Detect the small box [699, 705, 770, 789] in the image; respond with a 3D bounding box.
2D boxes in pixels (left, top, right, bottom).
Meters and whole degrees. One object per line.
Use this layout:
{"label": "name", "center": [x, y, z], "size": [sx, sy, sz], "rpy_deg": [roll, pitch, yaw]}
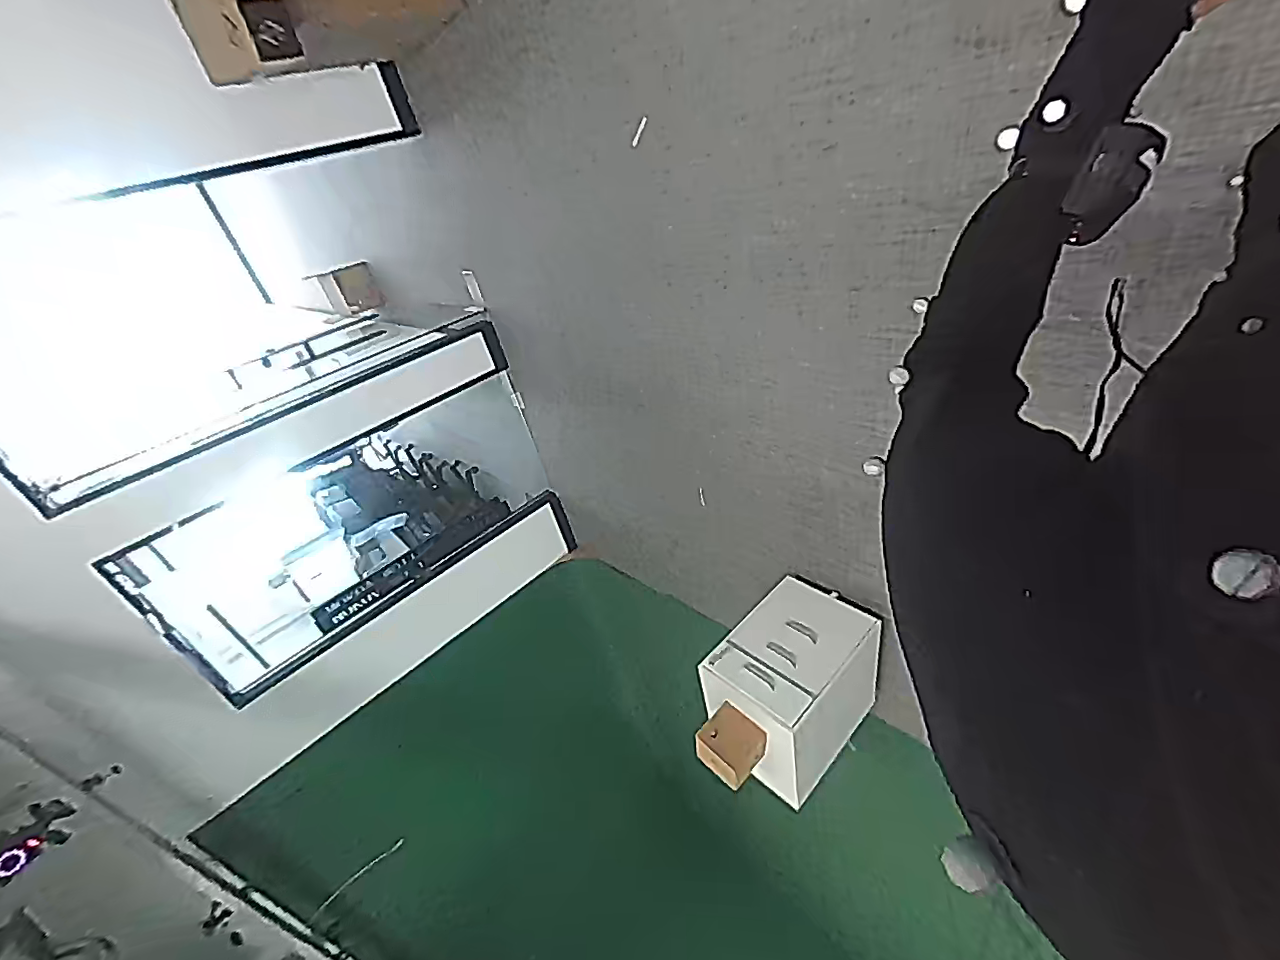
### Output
{"label": "small box", "center": [0.322, 0.904, 1.854], "size": [0.179, 0.176, 0.168], "rpy_deg": [30, 143, 37]}
